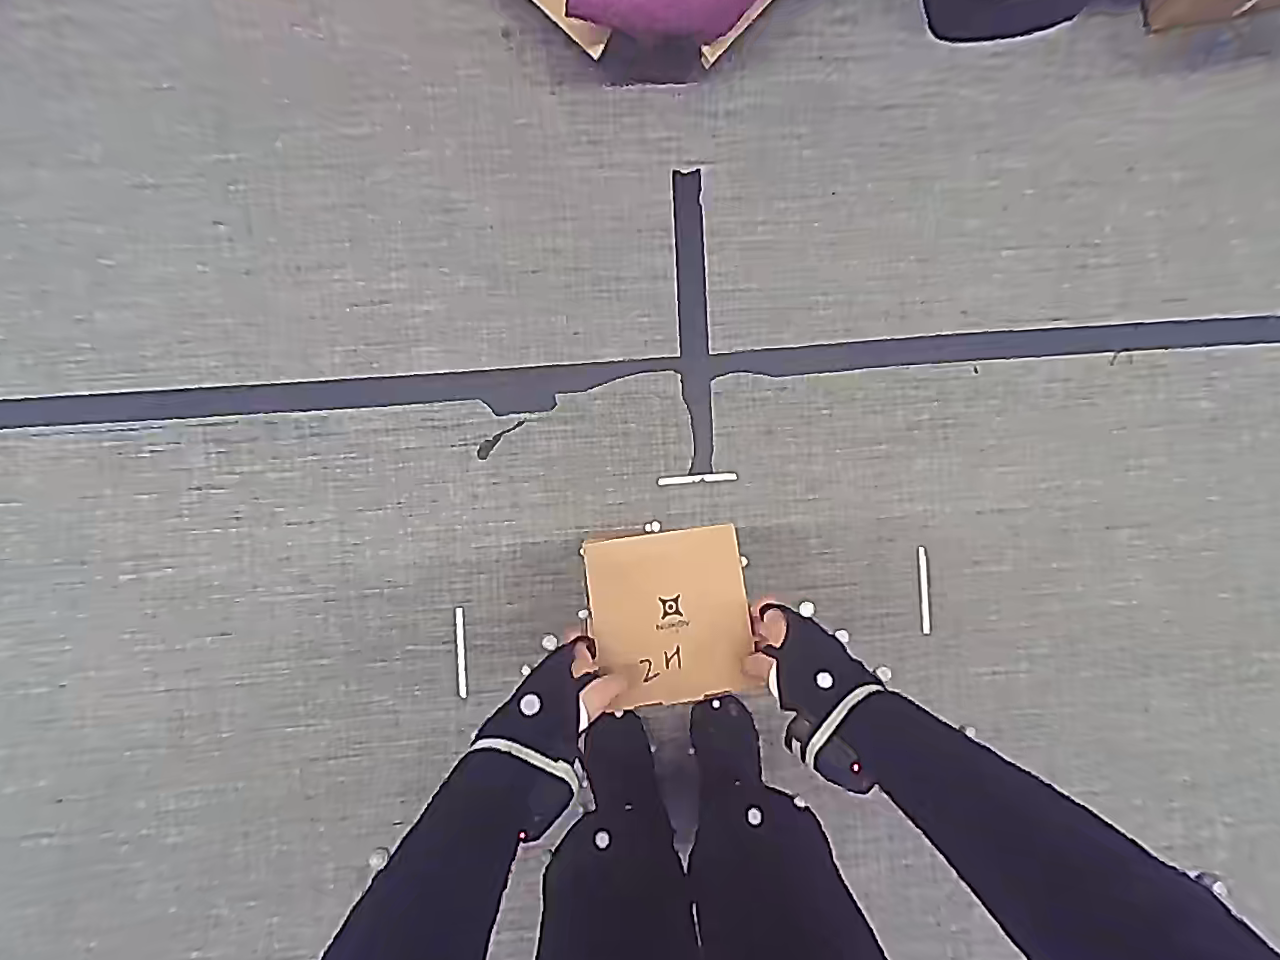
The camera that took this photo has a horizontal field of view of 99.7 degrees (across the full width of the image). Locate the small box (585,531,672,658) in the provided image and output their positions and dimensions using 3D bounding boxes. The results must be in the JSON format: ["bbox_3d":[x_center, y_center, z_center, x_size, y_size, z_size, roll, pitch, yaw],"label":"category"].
[{"bbox_3d":[0.008,0.168,0.834,0.179,0.176,0.168,-1,90,-3],"label":"small box"}]

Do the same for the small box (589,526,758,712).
[{"bbox_3d":[0.028,0.154,0.644,0.168,0.176,0.179,-6,83,-4],"label":"small box"}]
